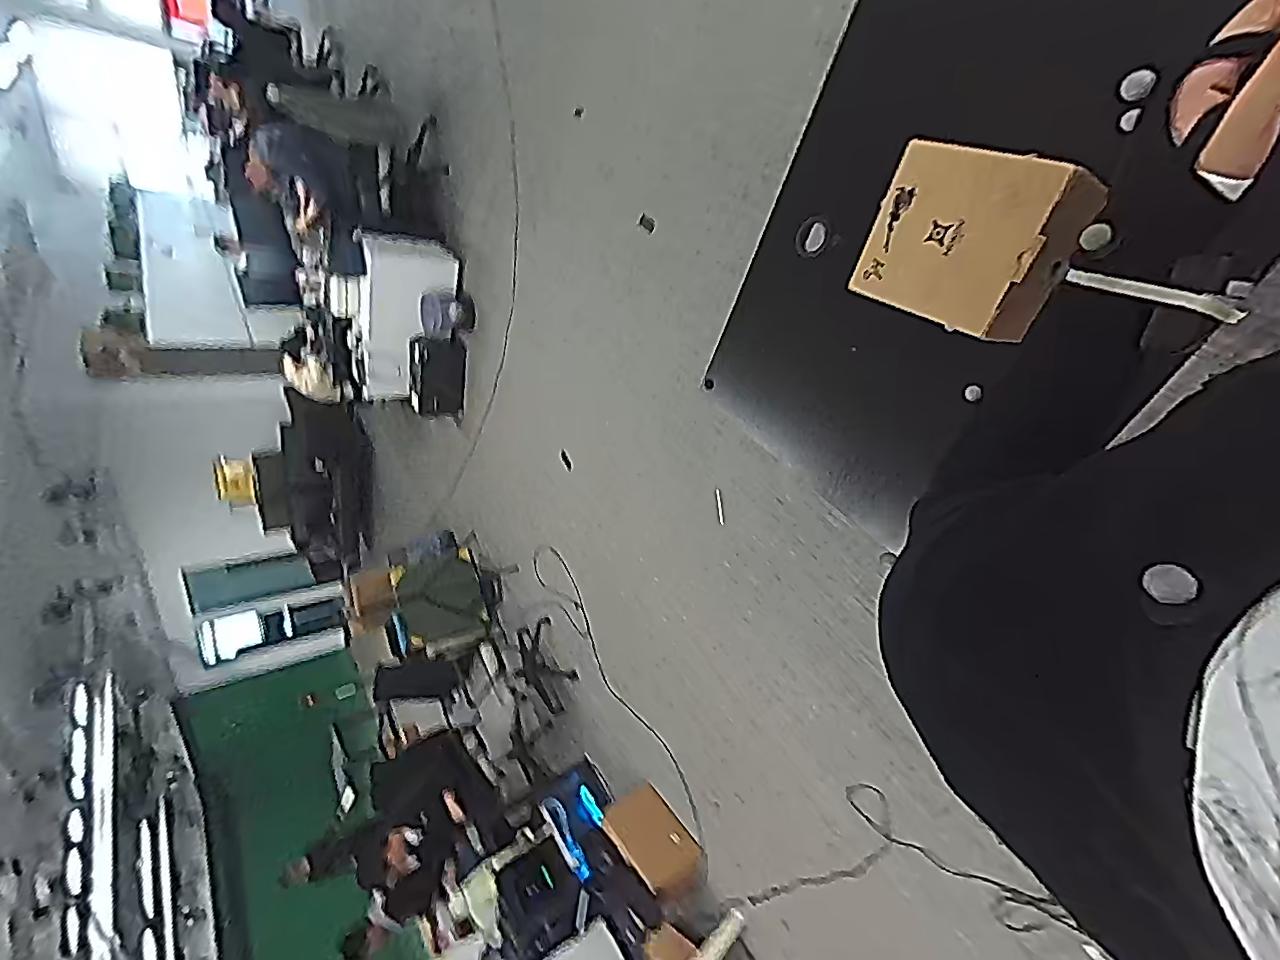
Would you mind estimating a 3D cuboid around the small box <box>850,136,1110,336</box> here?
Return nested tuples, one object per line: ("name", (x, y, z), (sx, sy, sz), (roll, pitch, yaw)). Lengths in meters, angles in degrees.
("small box", (0.393, -0.279, 0.632), (0.179, 0.176, 0.168), (42, 129, 38))
